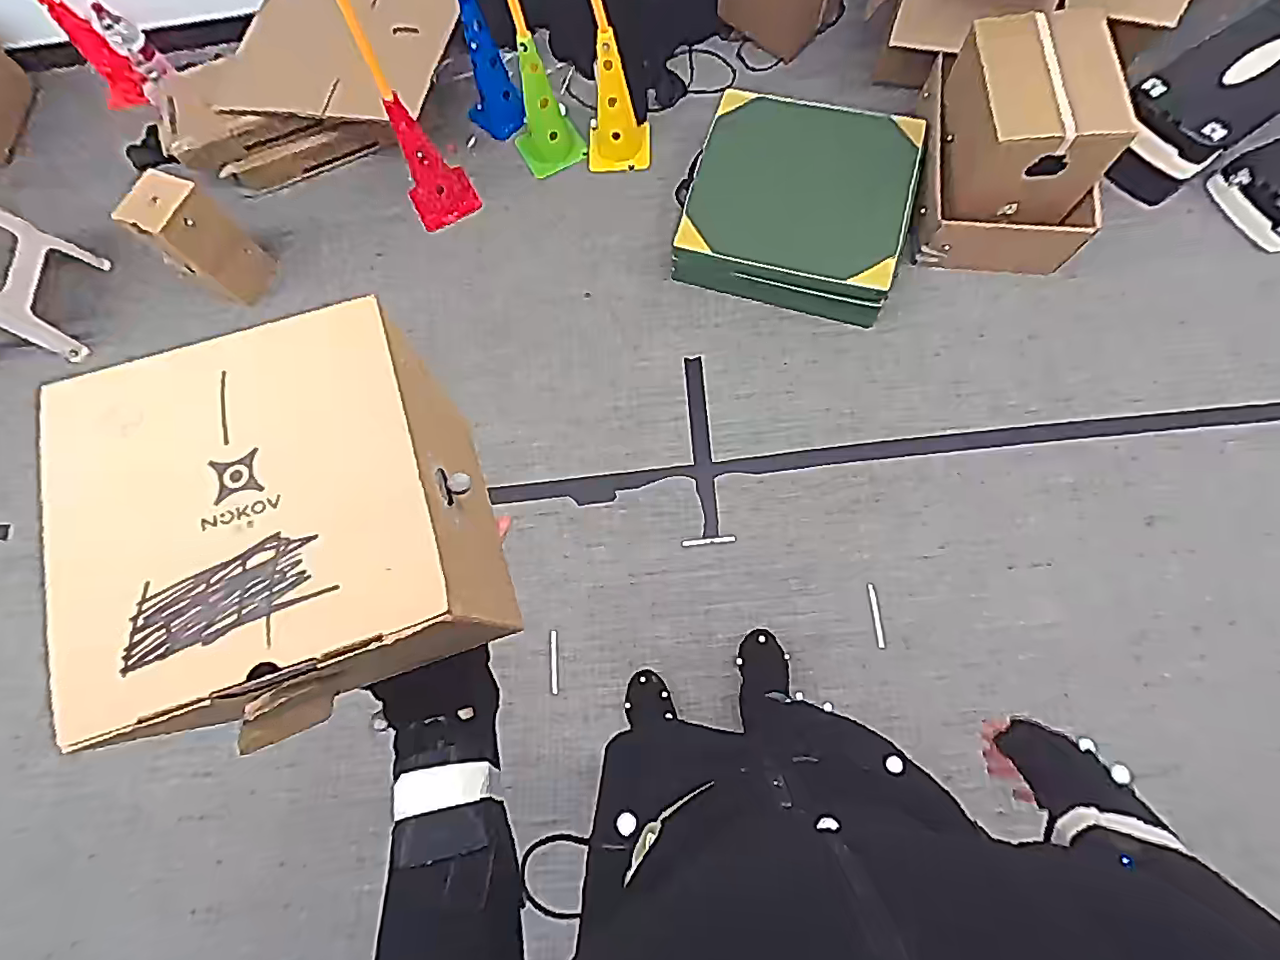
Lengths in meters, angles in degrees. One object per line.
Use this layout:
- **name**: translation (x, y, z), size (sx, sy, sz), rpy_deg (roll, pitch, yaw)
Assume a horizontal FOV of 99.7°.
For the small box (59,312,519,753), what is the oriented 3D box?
- **small box**: translation (-0.186, 0.036, 0.333), size (0.168, 0.176, 0.179), rpy_deg (-19, 73, -6)
